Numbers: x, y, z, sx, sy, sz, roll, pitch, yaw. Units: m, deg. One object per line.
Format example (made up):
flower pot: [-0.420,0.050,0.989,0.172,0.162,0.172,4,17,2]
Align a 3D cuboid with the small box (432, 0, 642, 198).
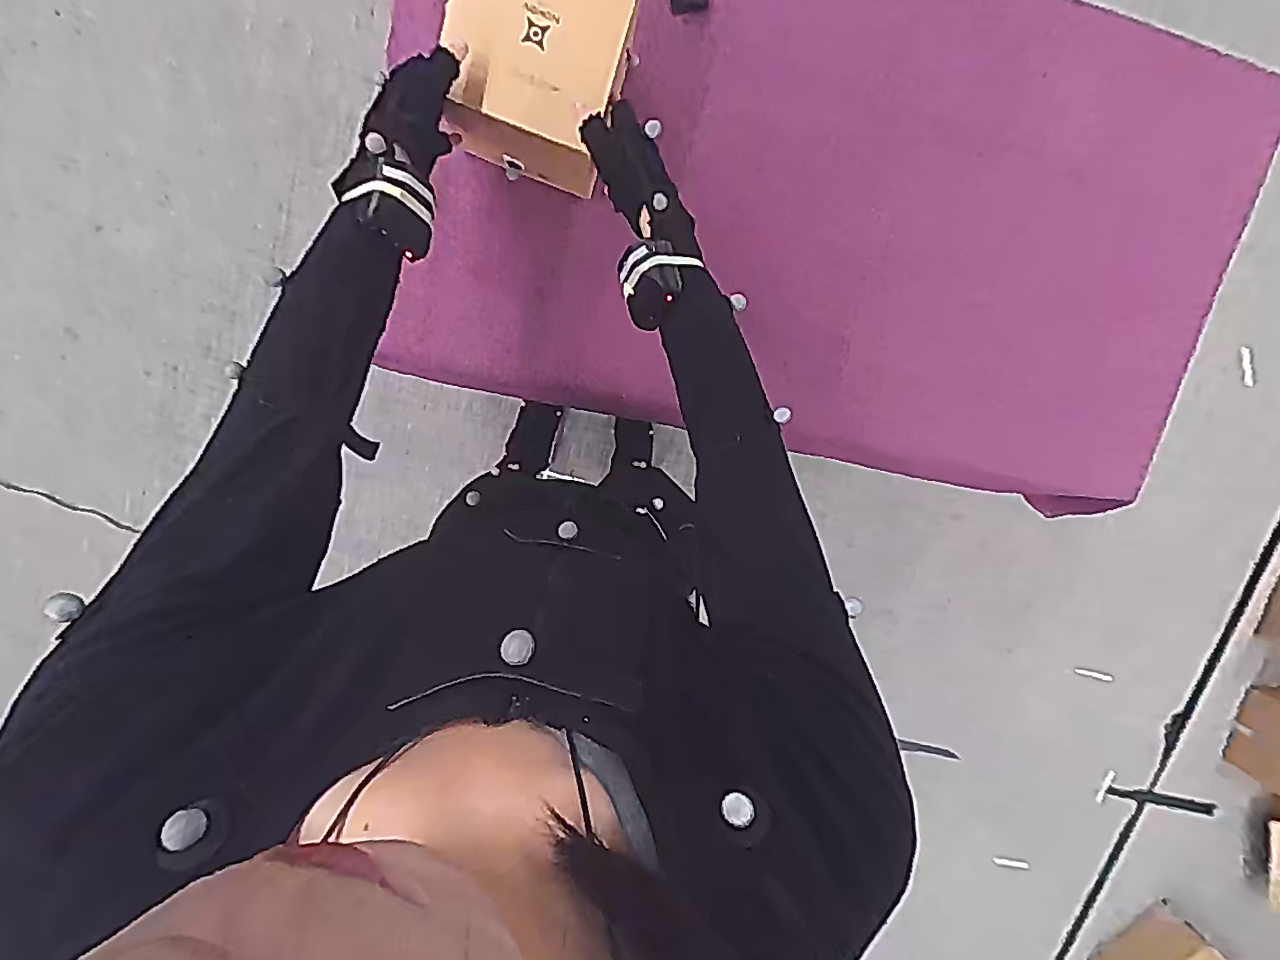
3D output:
small box: [-0.105,-0.443,0.588,0.168,0.176,0.179,16,101,-9]
